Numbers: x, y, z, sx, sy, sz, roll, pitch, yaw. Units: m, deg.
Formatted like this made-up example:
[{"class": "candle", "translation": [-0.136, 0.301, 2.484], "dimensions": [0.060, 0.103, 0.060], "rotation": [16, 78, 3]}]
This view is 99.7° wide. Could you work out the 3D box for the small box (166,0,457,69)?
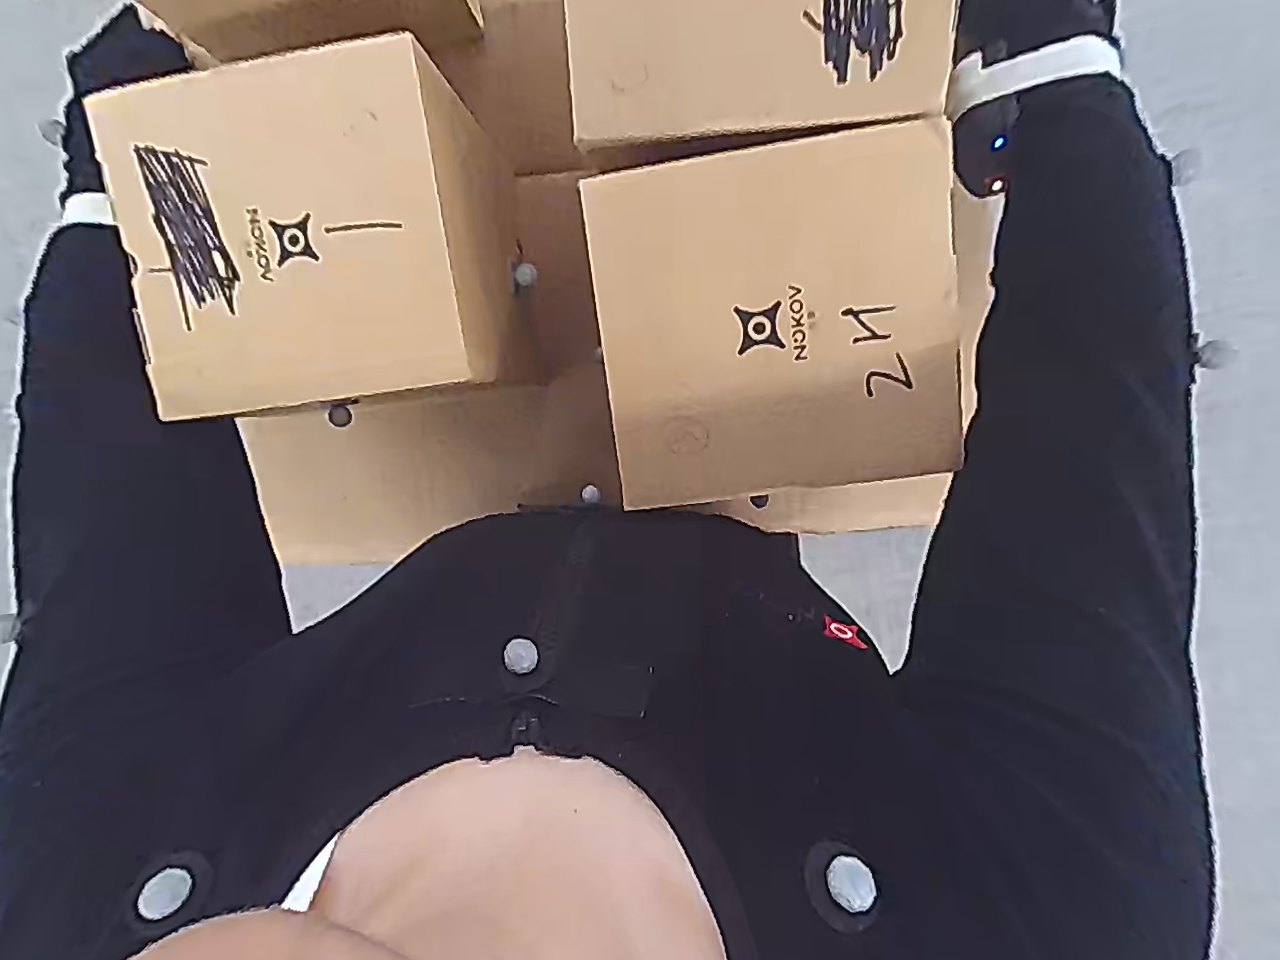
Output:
[{"class": "small box", "translation": [-0.213, -0.375, 0.297], "dimensions": [0.179, 0.176, 0.168], "rotation": [-10, 99, 6]}]
